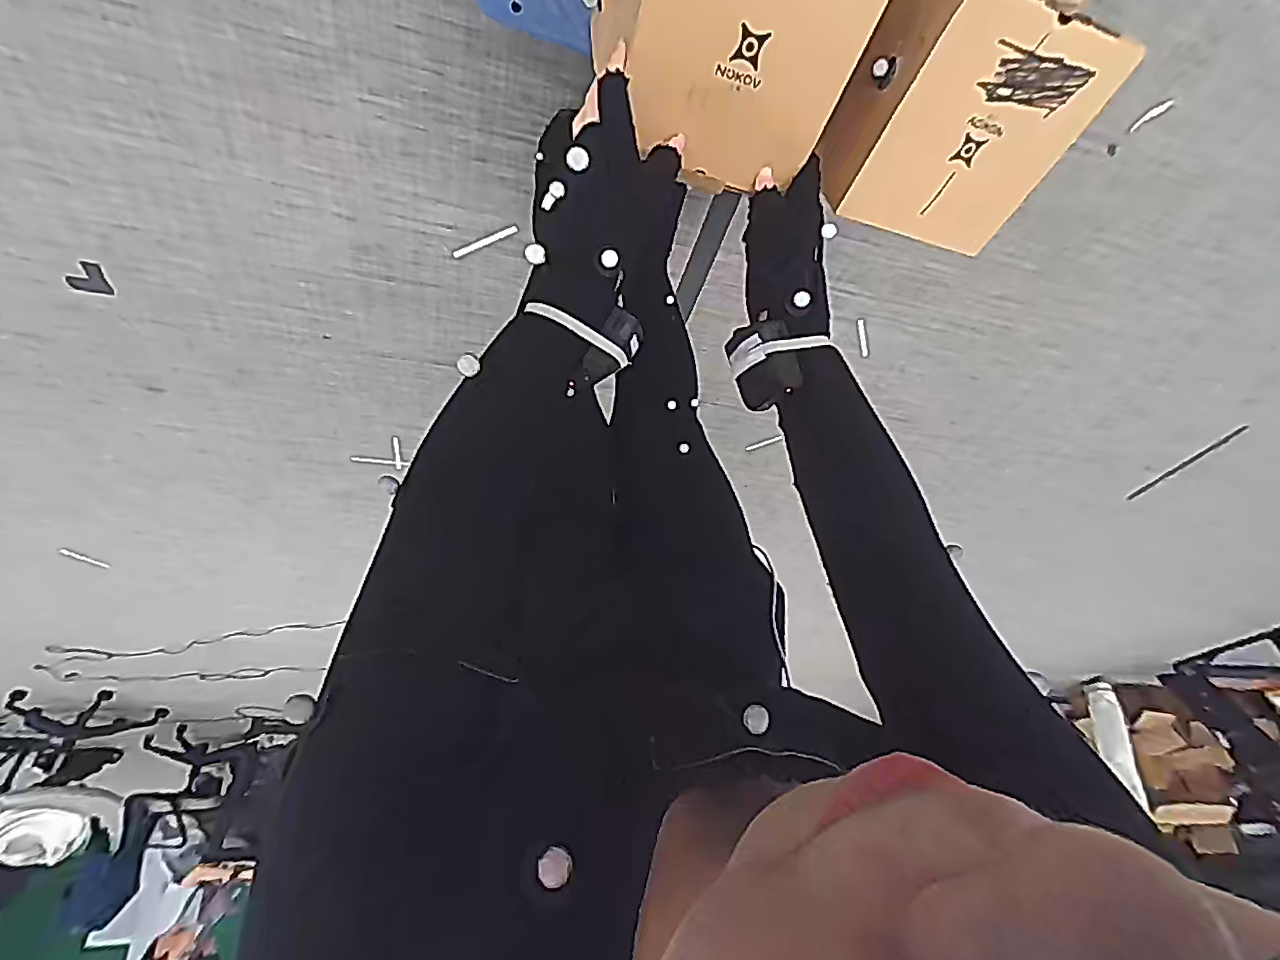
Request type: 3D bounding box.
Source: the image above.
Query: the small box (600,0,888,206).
[{"bbox_3d":[0.067,-0.368,0.441,0.168,0.176,0.179,7,142,-17],"label":"small box"}]

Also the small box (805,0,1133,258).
[{"bbox_3d":[0.269,-0.346,0.500,0.168,0.176,0.179,8,141,-17],"label":"small box"}]

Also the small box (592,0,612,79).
[{"bbox_3d":[0.048,-0.505,0.535,0.168,0.176,0.179,5,141,-15],"label":"small box"}]
